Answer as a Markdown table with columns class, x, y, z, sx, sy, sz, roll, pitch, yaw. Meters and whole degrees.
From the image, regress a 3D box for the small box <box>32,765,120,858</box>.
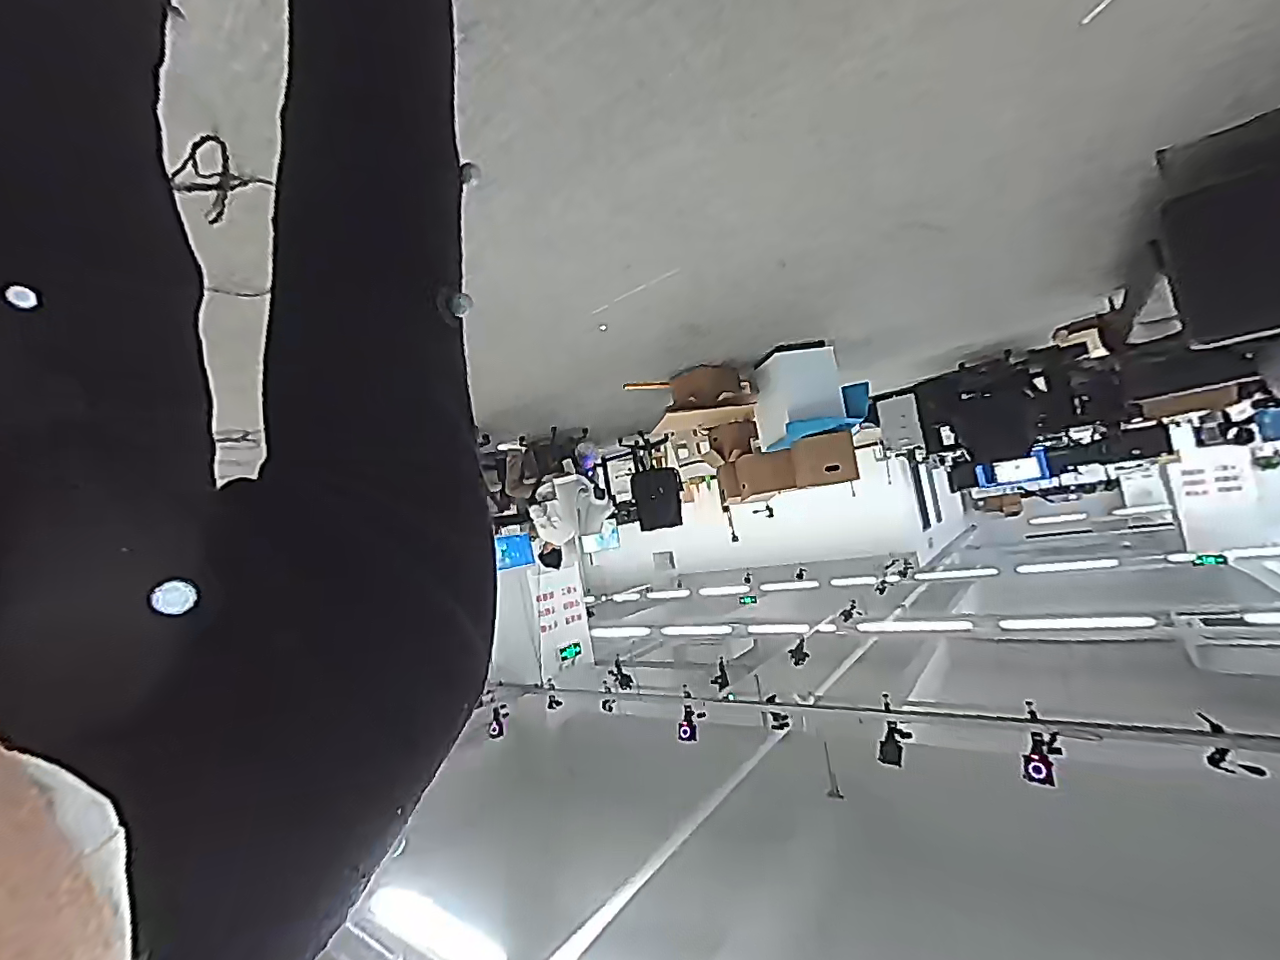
| class | x | y | z | sx | sy | sz | roll | pitch | yaw |
| --- | --- | --- | --- | --- | --- | --- | --- | --- | --- |
| small box | -1.687 | 0.978 | 1.616 | 0.179 | 0.176 | 0.168 | -13 | 174 | 38 |
